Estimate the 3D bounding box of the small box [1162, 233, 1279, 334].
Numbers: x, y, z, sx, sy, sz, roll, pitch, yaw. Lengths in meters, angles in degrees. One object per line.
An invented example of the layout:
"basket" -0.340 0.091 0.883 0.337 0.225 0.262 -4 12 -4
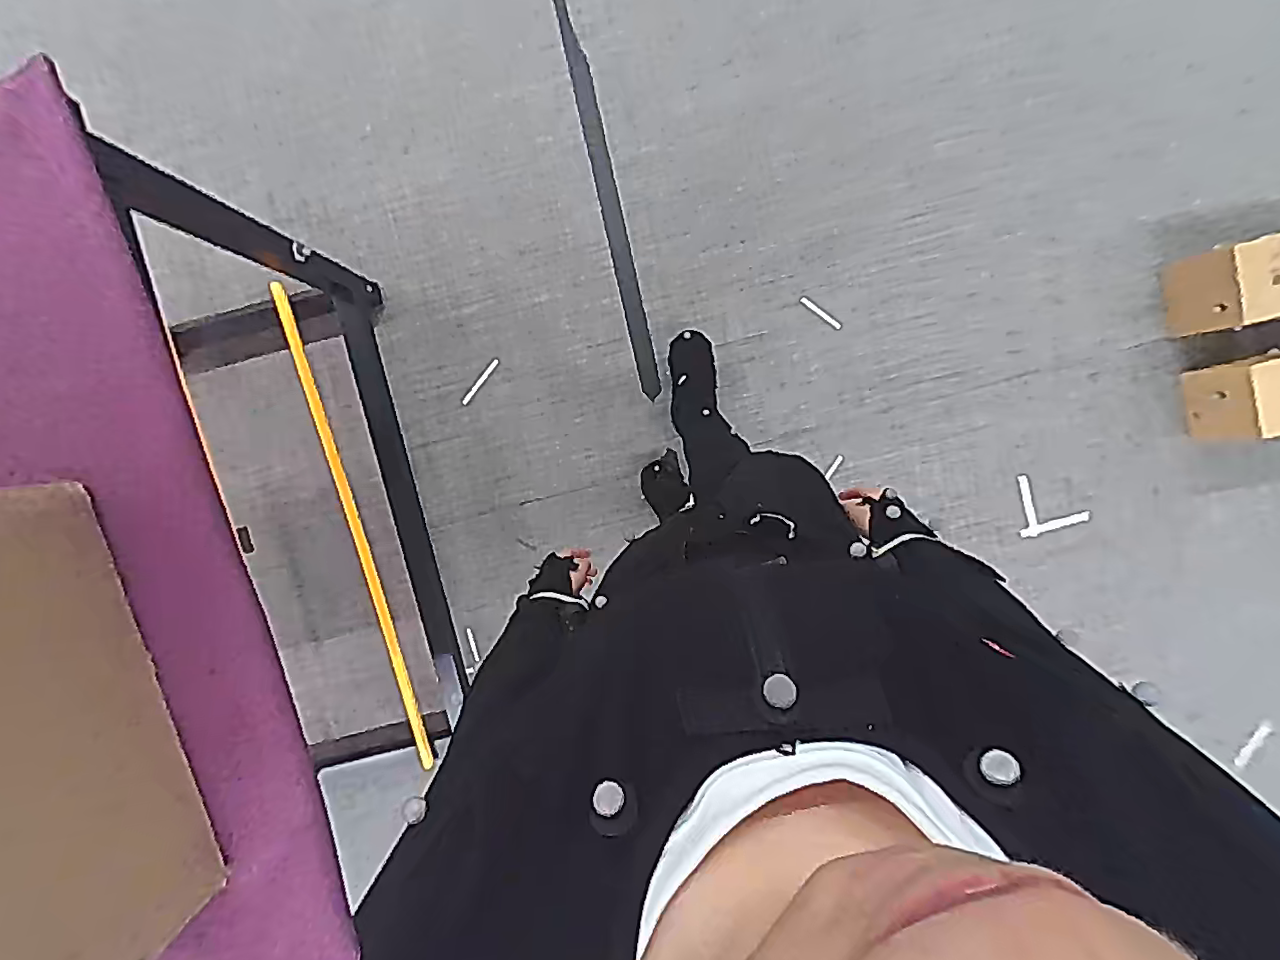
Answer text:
"small box" 1.349 -0.439 1.225 0.168 0.176 0.179 -14 94 2
